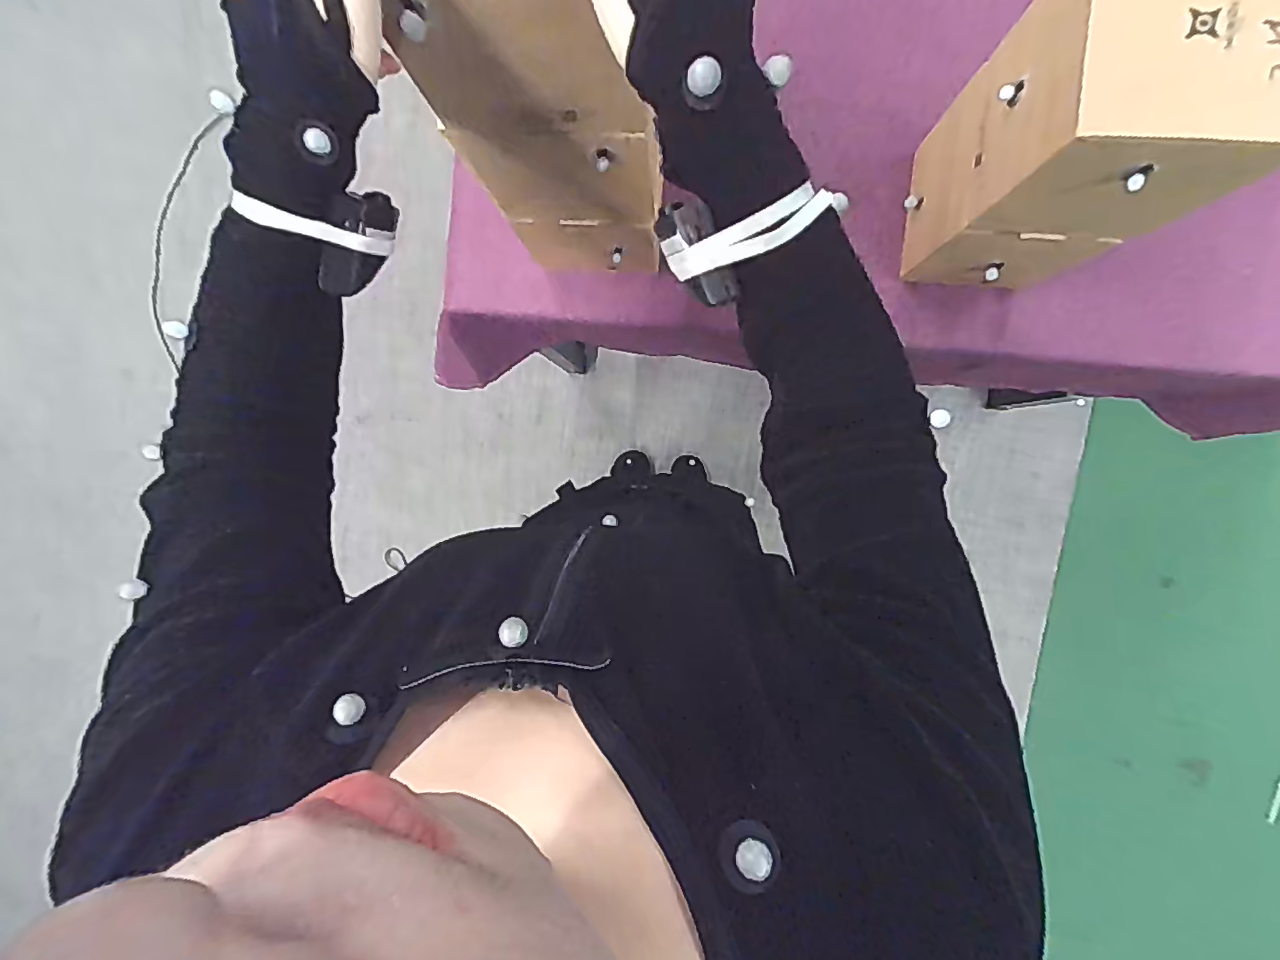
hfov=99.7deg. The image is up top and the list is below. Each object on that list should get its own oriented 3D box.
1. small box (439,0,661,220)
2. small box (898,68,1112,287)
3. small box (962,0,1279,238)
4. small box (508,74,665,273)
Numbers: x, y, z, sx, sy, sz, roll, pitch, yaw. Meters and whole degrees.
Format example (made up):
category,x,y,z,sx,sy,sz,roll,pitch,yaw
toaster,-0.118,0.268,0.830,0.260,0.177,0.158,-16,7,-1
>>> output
category,x,y,z,sx,sy,sz,roll,pitch,yaw
small box,-0.072,-0.367,0.517,0.179,0.176,0.168,2,93,2
small box,0.431,-0.344,0.648,0.168,0.176,0.179,6,94,3
small box,0.422,-0.333,0.482,0.179,0.176,0.168,5,94,4
small box,-0.057,-0.374,0.679,0.168,0.176,0.179,4,93,3
